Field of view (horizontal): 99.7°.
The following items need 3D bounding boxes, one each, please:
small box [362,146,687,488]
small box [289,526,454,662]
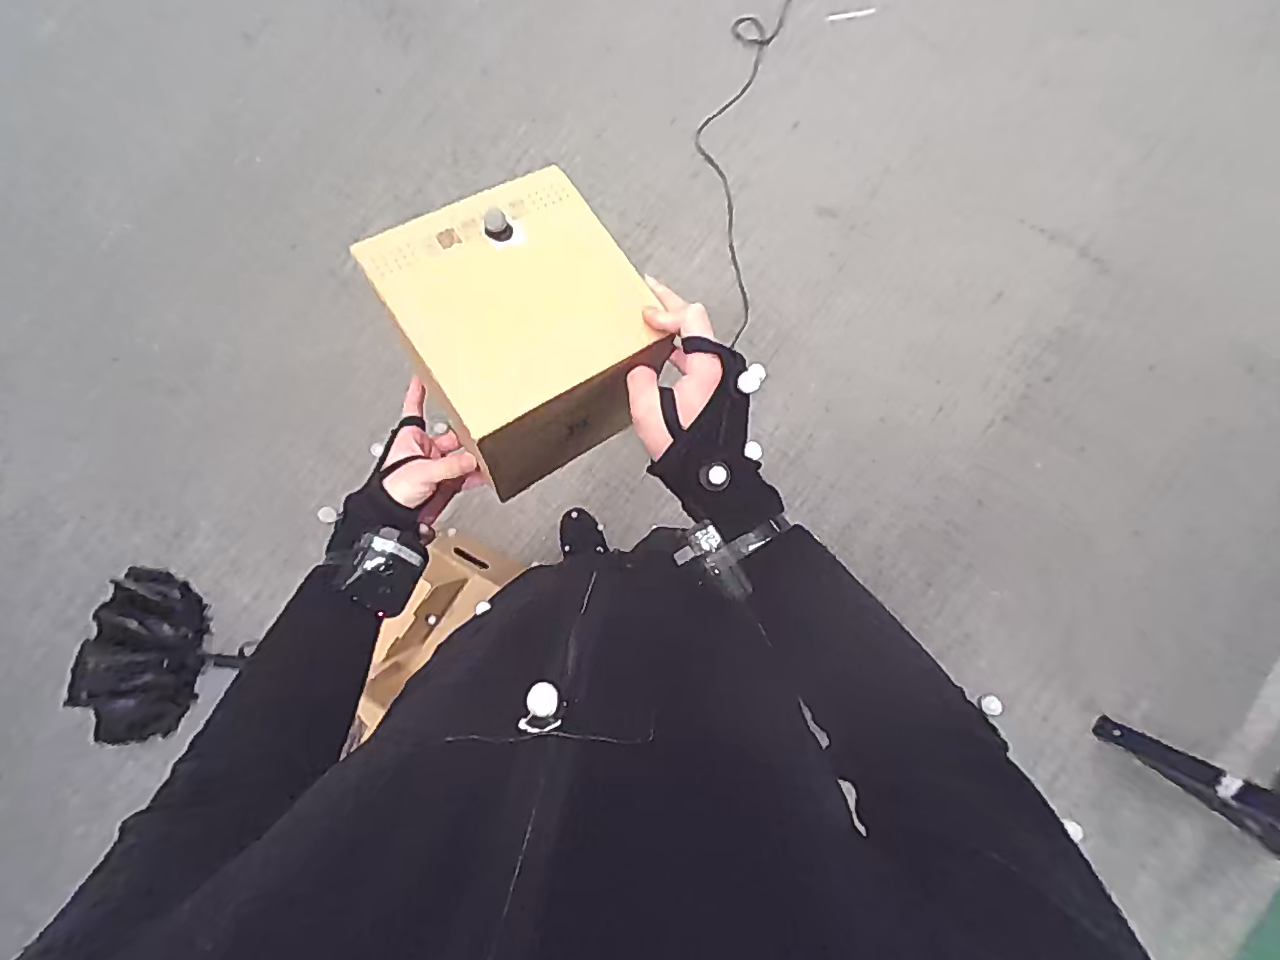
[{"bbox_3d":[-0.090,-0.122,0.446,0.168,0.179,0.176,-33,80,-16],"label":"small box"},{"bbox_3d":[-0.473,0.194,0.984,0.179,0.176,0.168,35,87,2],"label":"small box"}]
